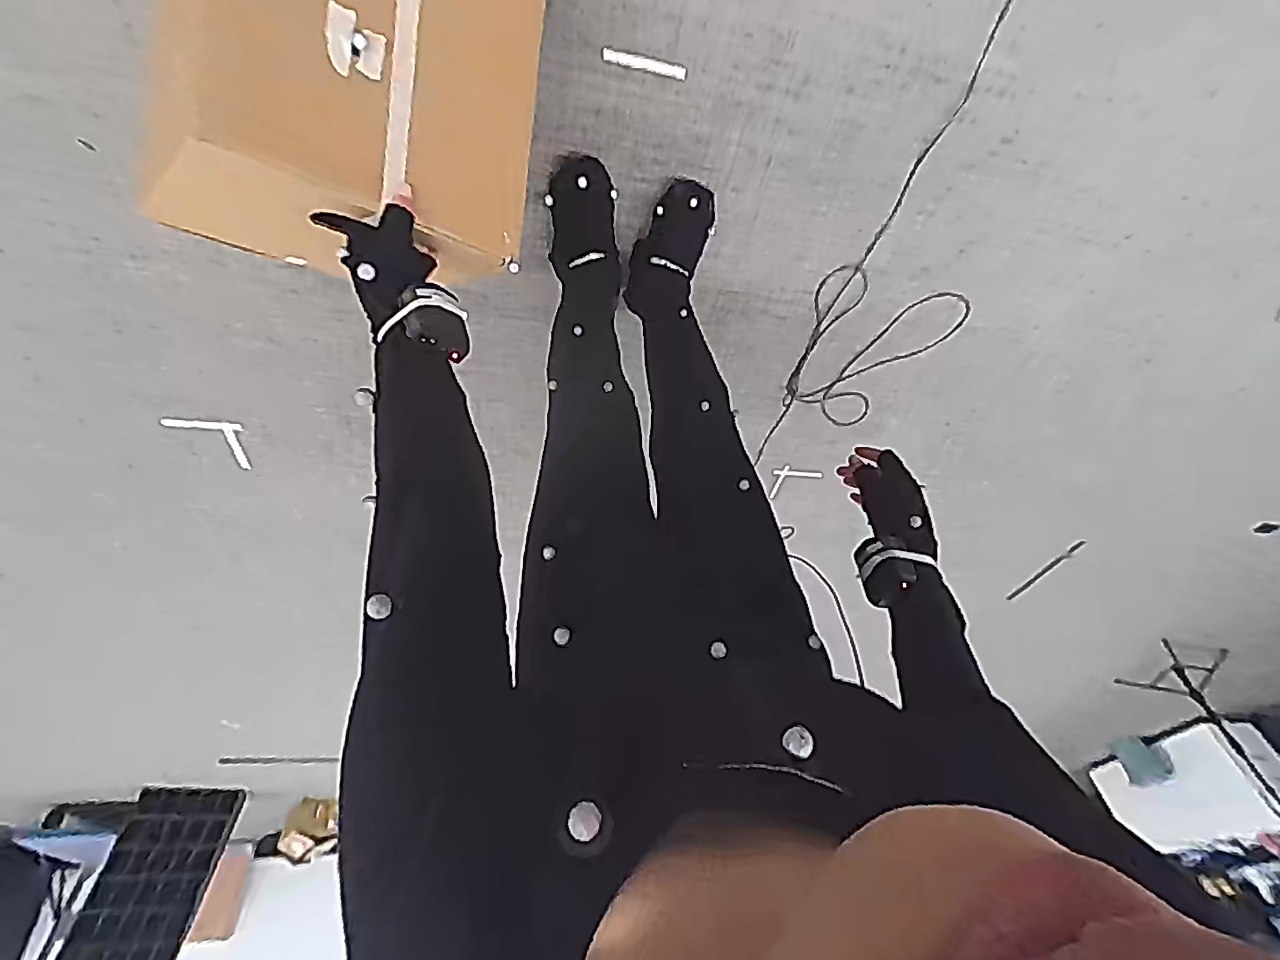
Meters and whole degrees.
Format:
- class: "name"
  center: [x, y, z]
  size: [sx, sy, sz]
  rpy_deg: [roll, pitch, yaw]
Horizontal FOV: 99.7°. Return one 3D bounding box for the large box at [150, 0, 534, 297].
- class: "large box"
  center: [-0.355, -0.475, 0.648]
  size: [0.320, 0.408, 0.320]
  rpy_deg: [10, -175, 42]
